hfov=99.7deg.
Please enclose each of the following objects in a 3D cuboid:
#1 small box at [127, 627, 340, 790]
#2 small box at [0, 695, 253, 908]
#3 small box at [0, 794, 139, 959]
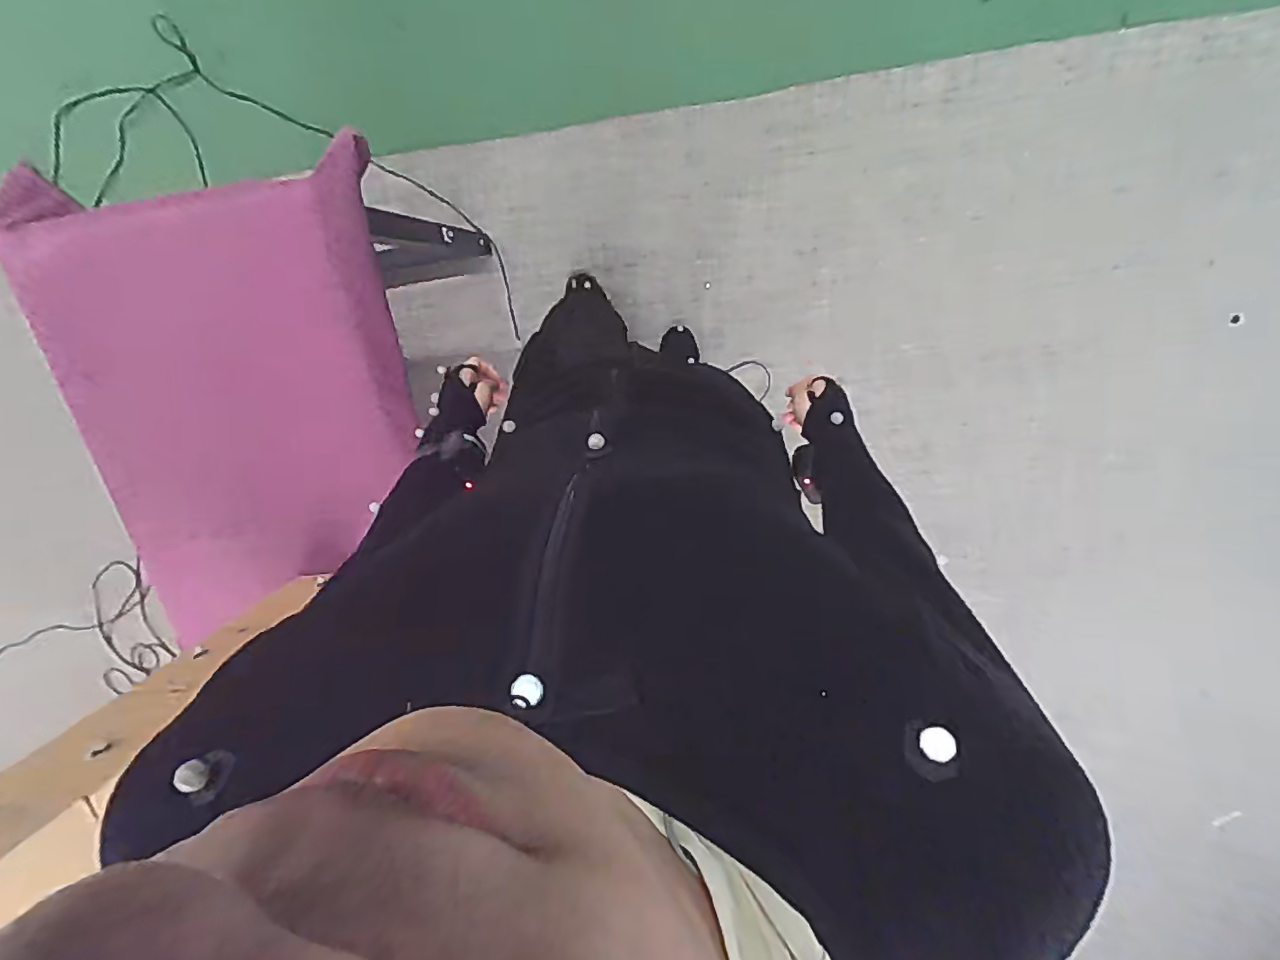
[{"bbox_3d":[-0.604,0.338,0.828,0.168,0.176,0.179,-5,108,10],"label":"small box"},{"bbox_3d":[-0.632,0.390,0.676,0.179,0.176,0.168,-6,106,10],"label":"small box"},{"bbox_3d":[-0.652,0.439,0.520,0.168,0.176,0.179,-6,106,11],"label":"small box"}]
